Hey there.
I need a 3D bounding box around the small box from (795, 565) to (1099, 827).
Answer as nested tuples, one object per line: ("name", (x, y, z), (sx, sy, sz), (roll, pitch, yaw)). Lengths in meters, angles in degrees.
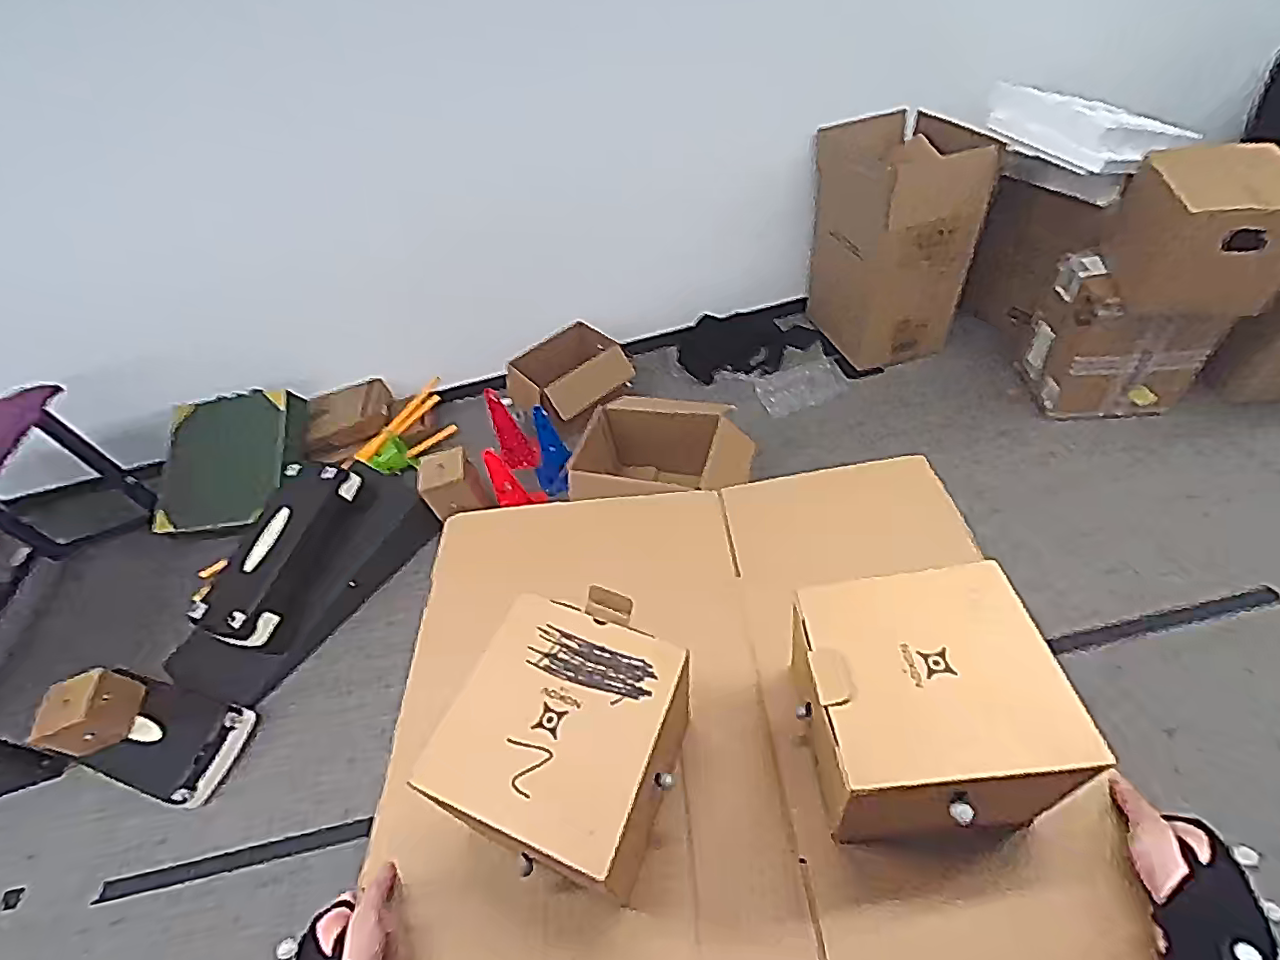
("small box", (0.247, 0.201, 0.494), (0.179, 0.176, 0.168), (-10, 46, 7))
